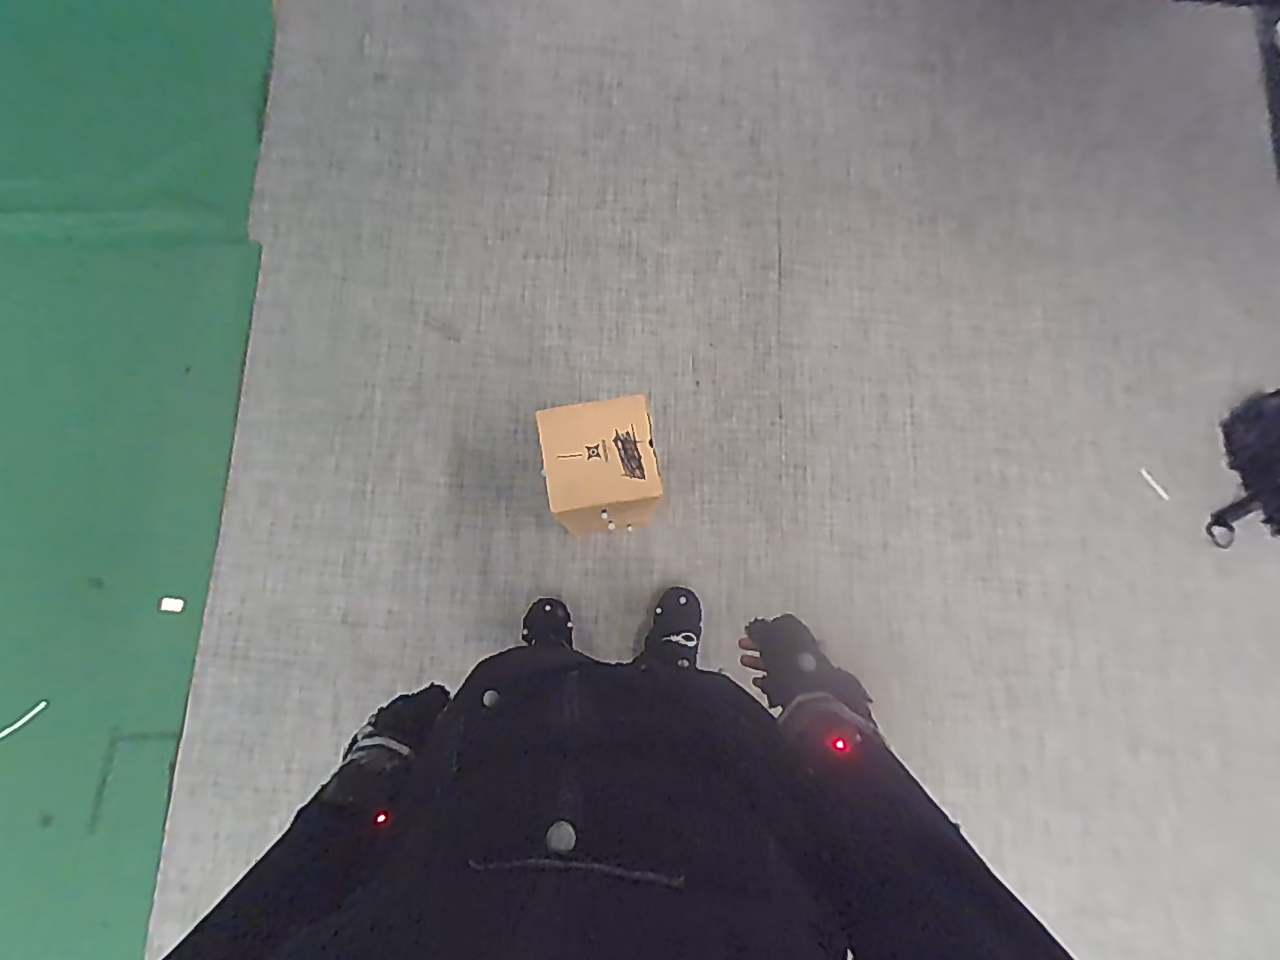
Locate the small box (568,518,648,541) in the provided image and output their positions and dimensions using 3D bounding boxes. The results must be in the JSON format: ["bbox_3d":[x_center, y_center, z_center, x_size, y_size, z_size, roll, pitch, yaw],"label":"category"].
[{"bbox_3d":[-0.083,0.043,1.240,0.179,0.176,0.168,-10,80,-3],"label":"small box"}]

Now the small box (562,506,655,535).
[{"bbox_3d":[-0.076,0.012,1.082,0.179,0.176,0.168,-12,82,-3],"label":"small box"}]

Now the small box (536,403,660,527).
[{"bbox_3d":[-0.069,-0.018,0.918,0.179,0.176,0.168,-9,80,-3],"label":"small box"}]
